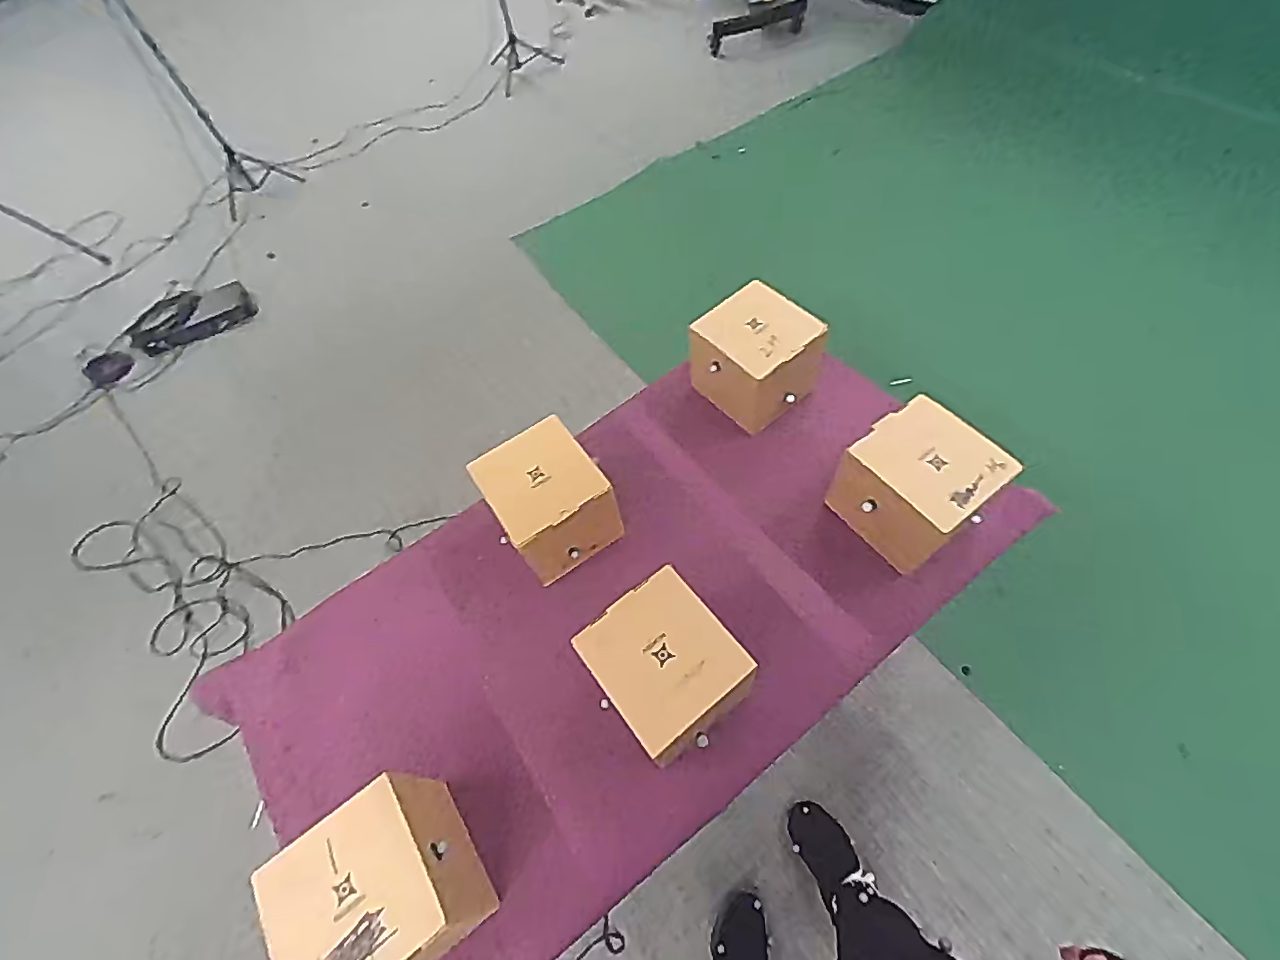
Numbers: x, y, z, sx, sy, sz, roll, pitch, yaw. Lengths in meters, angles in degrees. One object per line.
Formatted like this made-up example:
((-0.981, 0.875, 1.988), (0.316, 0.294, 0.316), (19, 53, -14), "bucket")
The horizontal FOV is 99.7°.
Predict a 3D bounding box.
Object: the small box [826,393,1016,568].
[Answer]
((0.415, 0.006, 0.838), (0.168, 0.176, 0.179), (-35, 62, -11), "small box")

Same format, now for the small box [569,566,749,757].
((0.030, 0.257, 0.749), (0.168, 0.176, 0.179), (-36, 61, -12), "small box")

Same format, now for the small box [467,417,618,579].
((-0.154, 0.036, 0.903), (0.168, 0.176, 0.179), (-34, 63, -12), "small box")

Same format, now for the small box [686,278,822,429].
((0.204, -0.228, 1.001), (0.168, 0.176, 0.179), (-38, 63, -11), "small box")

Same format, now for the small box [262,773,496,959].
((-0.304, 0.489, 0.657), (0.168, 0.176, 0.179), (-36, 60, -13), "small box")
